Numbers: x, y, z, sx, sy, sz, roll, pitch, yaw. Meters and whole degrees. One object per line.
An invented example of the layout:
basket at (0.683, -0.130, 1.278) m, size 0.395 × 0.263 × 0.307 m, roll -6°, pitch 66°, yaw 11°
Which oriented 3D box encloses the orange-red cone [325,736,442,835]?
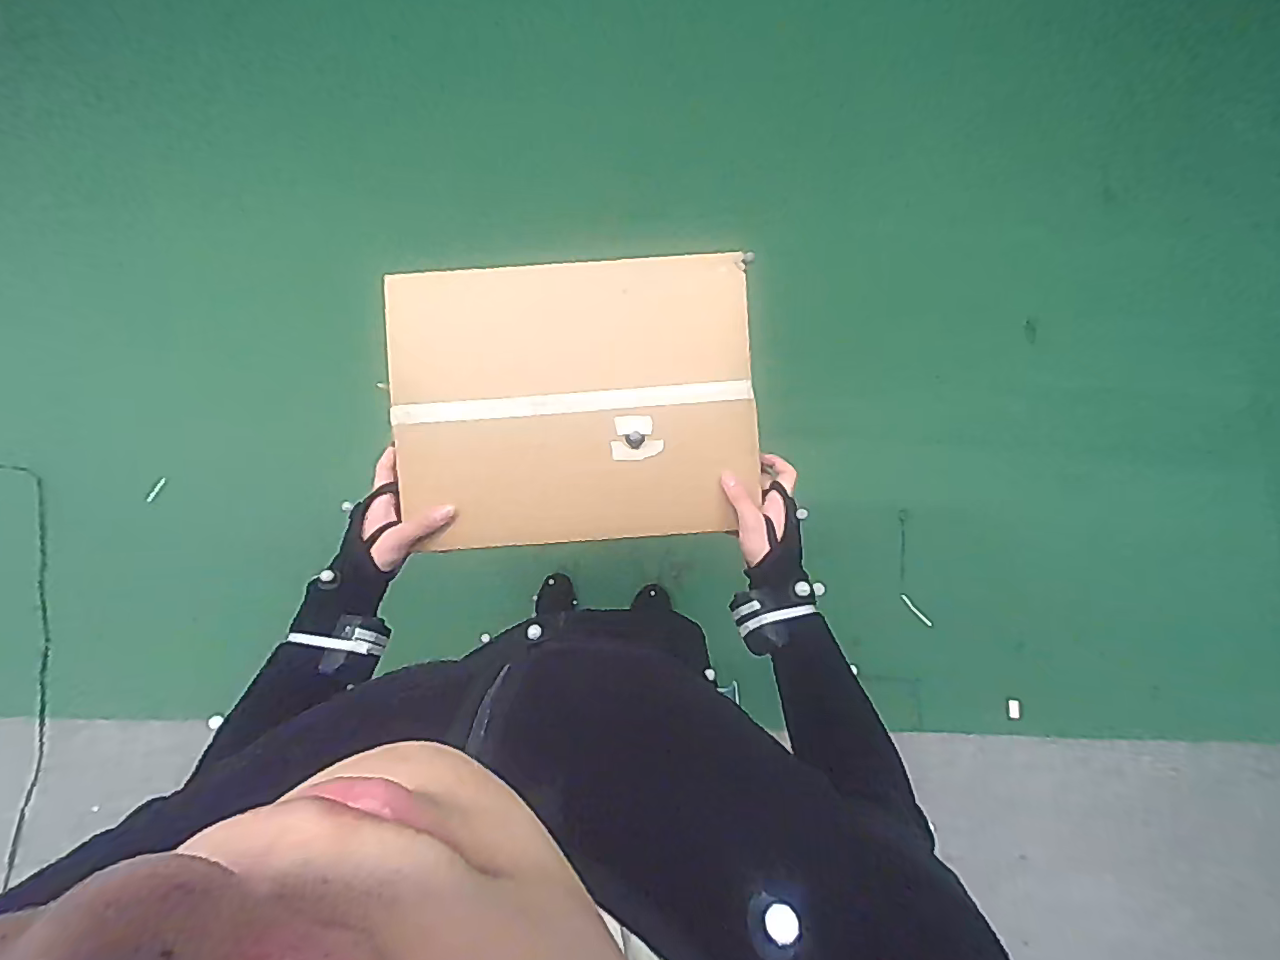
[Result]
orange-red cone at (-0.679, 0.807, 1.367) m, size 0.199 × 0.360 × 0.198 m, roll 8°, pitch 78°, yaw 3°

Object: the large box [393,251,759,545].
large box at (-0.076, -0.093, 0.763) m, size 0.408 × 0.320 × 0.320 m, roll -4°, pitch 91°, yaw -1°
